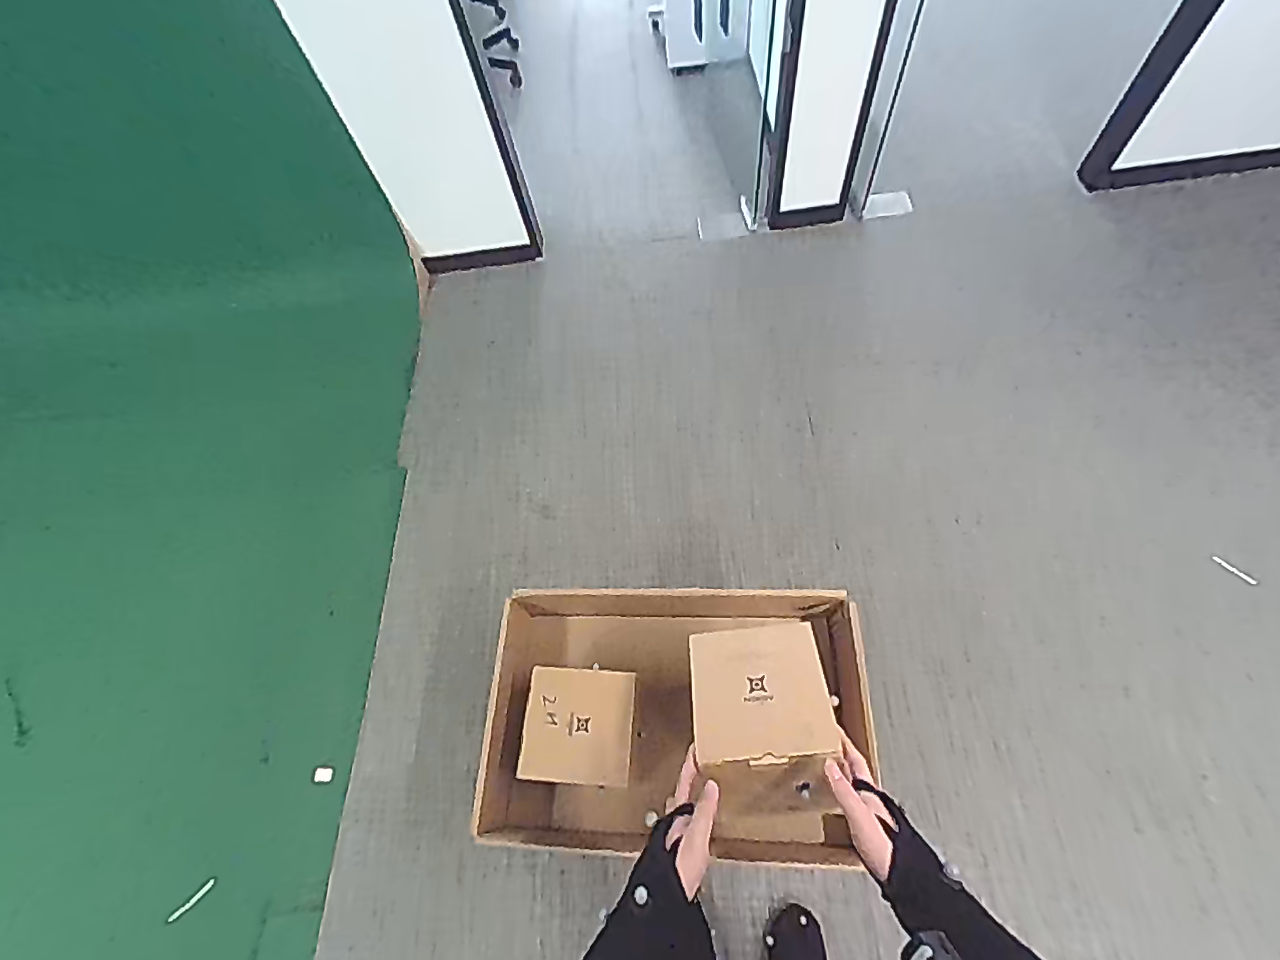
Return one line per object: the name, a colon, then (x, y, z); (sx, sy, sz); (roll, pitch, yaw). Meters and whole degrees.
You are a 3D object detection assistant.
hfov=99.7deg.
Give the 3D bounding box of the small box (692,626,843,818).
small box: (0.164, 0.321, 0.709); (0.168, 0.176, 0.179); (-9, 36, 9)
